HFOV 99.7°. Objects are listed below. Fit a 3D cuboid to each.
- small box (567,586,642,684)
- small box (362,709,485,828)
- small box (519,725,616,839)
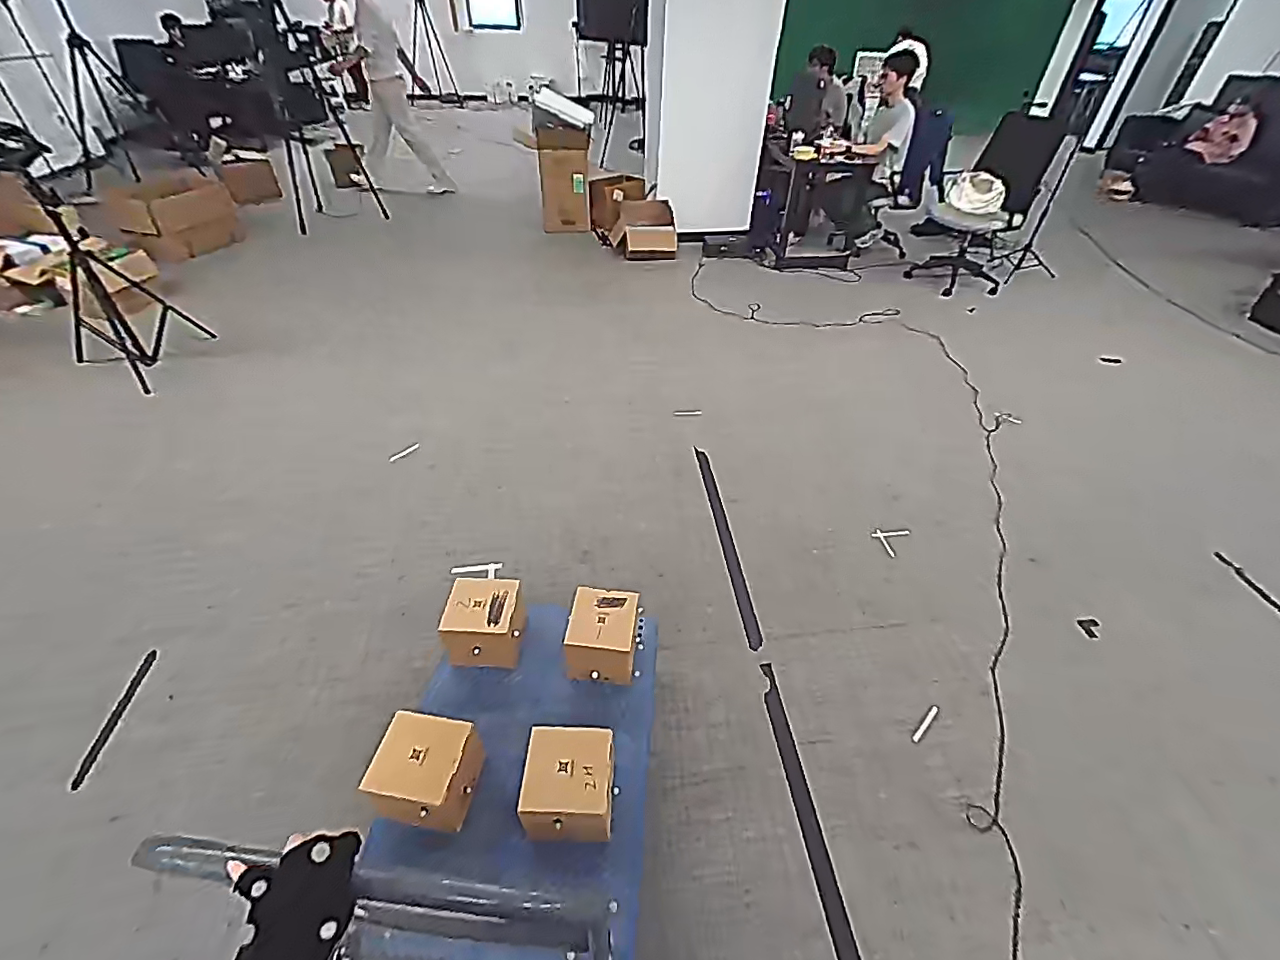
[{"bbox_3d":[-0.090,0.406,1.421,0.168,0.176,0.179,6,43,5],"label":"small box"},{"bbox_3d":[-0.453,0.622,1.164,0.179,0.176,0.168,8,41,5],"label":"small box"},{"bbox_3d":[-0.145,0.642,1.148,0.179,0.176,0.168,2,41,1],"label":"small box"}]
